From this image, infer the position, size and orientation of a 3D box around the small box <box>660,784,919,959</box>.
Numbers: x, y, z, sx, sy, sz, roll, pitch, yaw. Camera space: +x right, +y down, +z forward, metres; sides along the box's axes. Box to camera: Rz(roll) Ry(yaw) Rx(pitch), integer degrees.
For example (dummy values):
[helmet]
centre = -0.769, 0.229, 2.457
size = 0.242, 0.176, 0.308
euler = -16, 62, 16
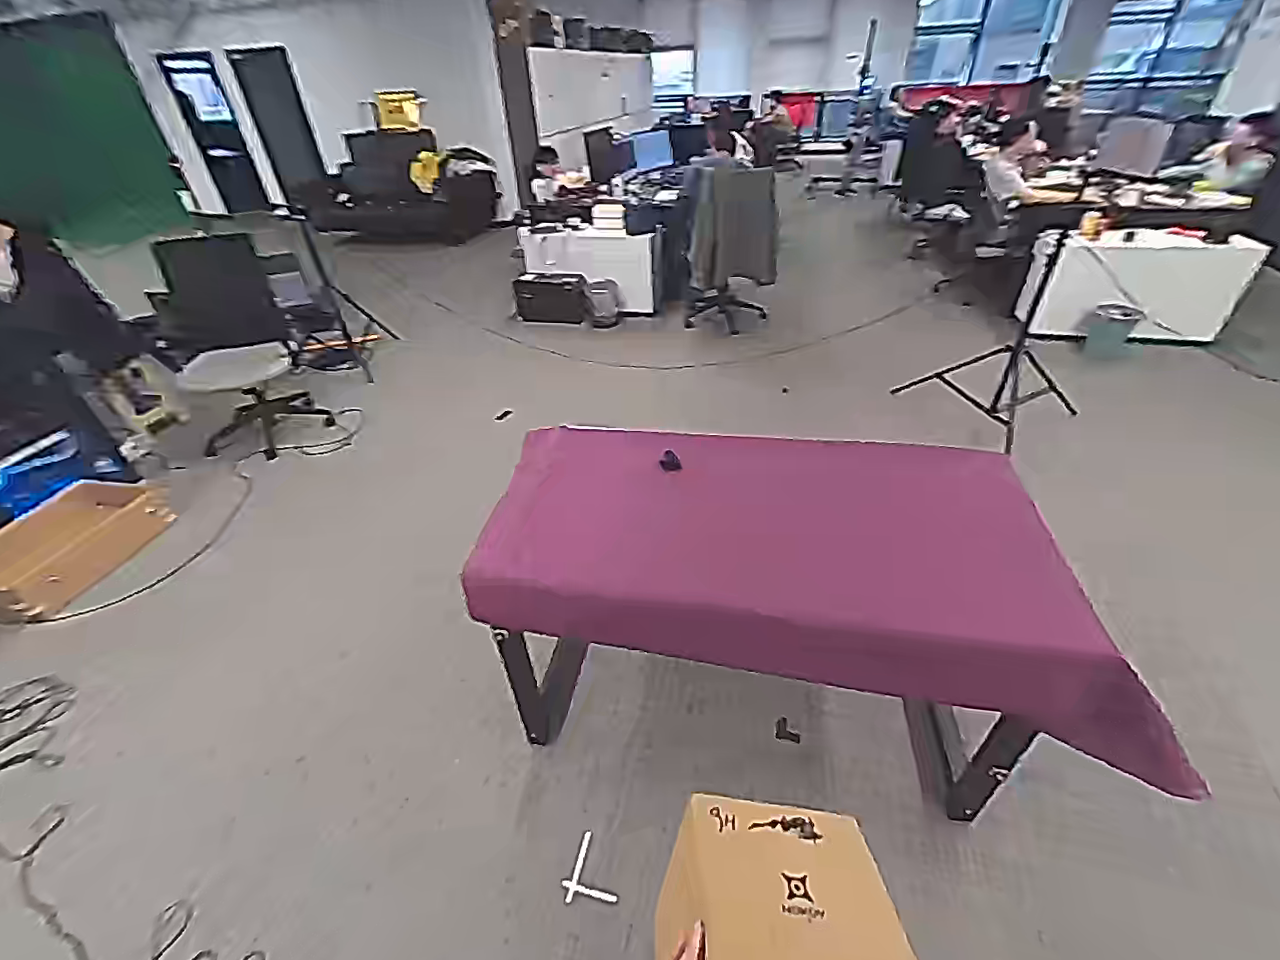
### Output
[small box]
centre = 0.114, 0.406, 0.463
size = 0.168, 0.176, 0.179
euler = 11, 19, -4
